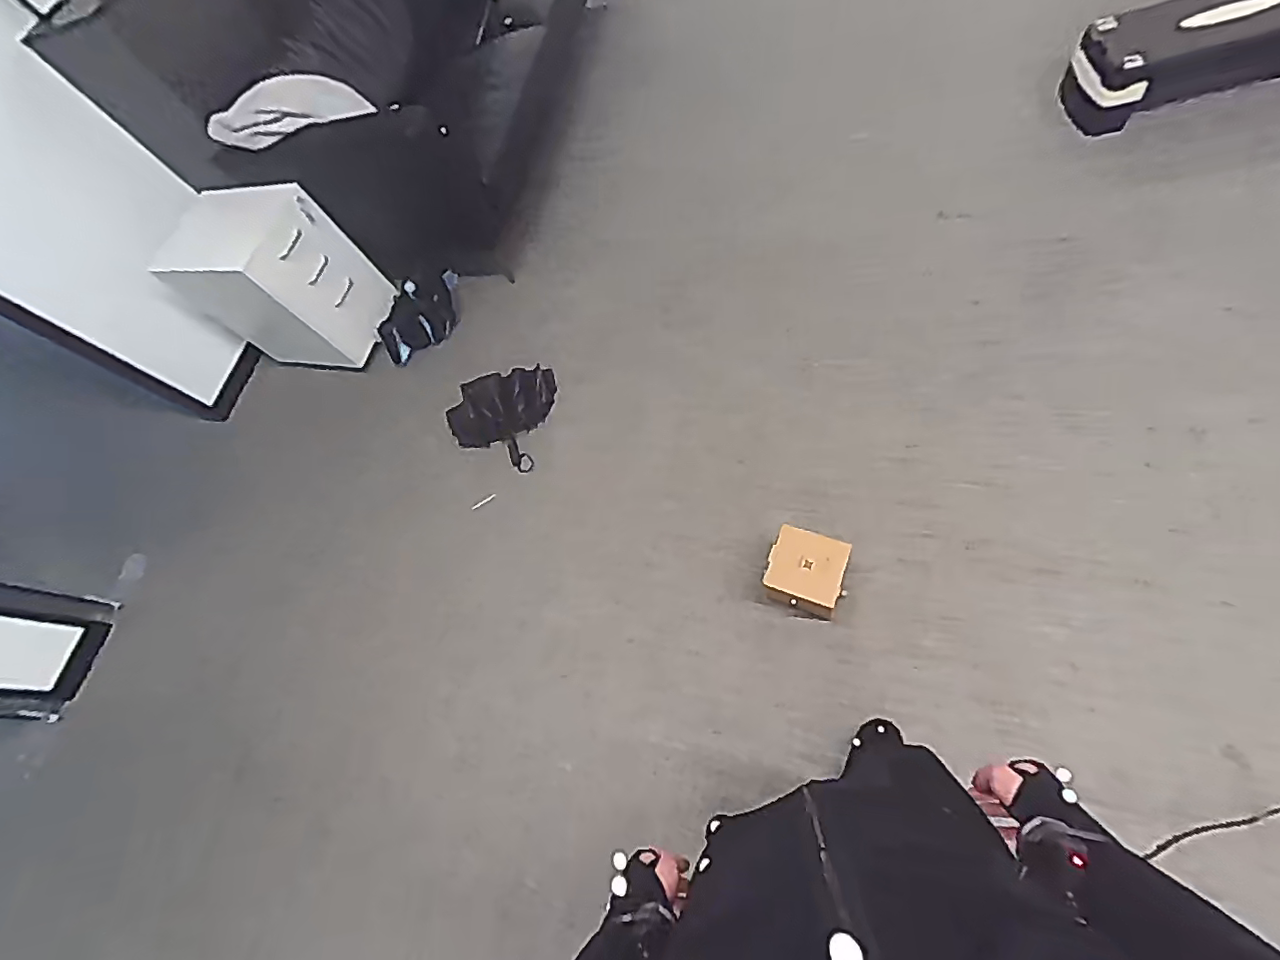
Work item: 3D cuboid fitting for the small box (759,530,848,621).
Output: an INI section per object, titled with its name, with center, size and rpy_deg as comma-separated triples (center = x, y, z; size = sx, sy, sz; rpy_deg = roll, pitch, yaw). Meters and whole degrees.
[small box]
center = 0.423, 0.253, 1.399
size = 0.179, 0.176, 0.168
rpy_deg = 17, 73, 22
